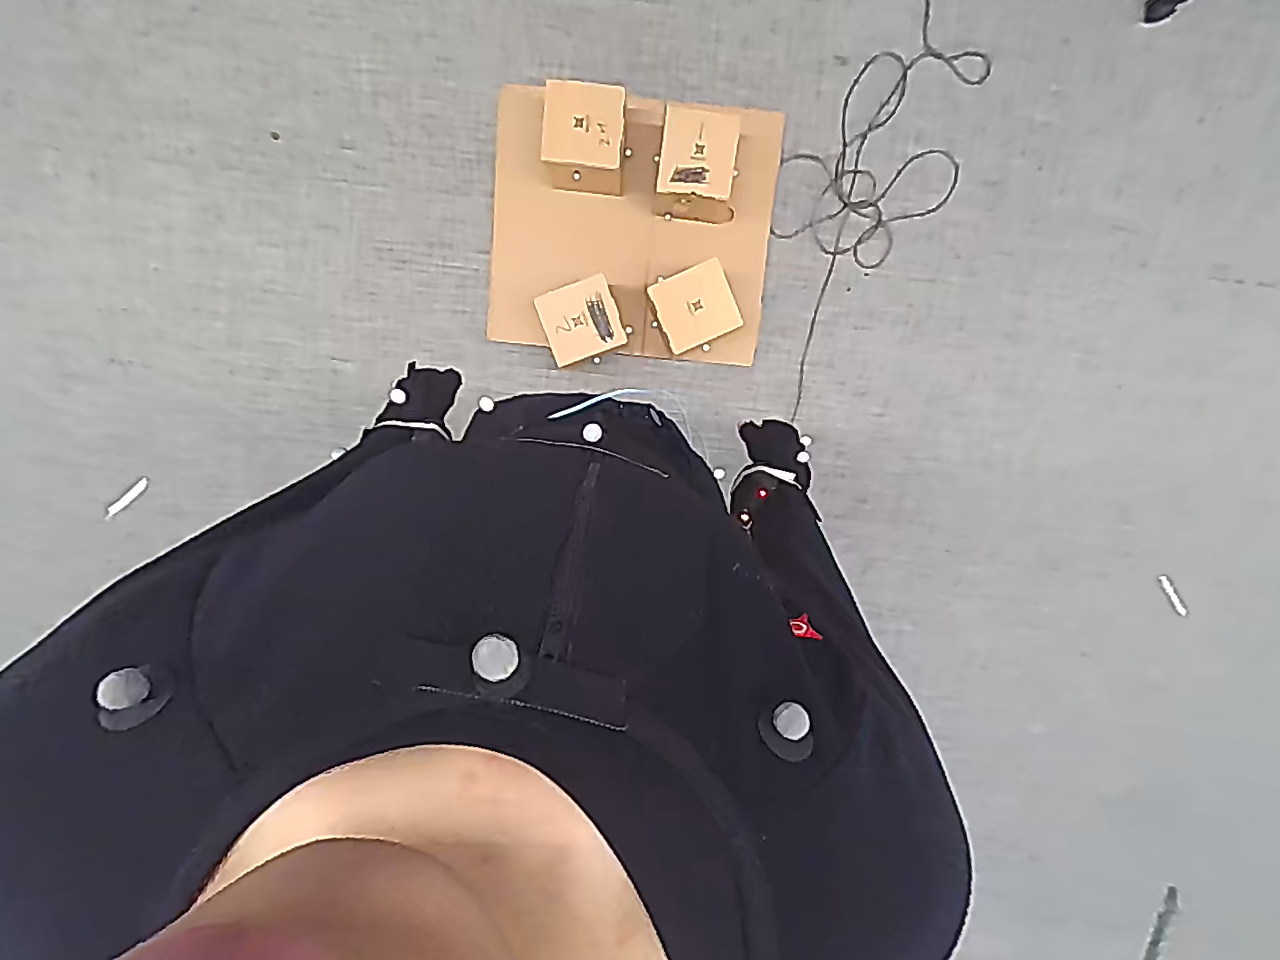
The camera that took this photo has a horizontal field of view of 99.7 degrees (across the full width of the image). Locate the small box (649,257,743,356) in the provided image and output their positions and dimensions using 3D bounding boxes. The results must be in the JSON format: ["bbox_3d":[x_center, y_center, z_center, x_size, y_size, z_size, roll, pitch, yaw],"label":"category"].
[{"bbox_3d":[0.130,-0.414,1.320,0.179,0.176,0.168,-23,98,5],"label":"small box"}]
